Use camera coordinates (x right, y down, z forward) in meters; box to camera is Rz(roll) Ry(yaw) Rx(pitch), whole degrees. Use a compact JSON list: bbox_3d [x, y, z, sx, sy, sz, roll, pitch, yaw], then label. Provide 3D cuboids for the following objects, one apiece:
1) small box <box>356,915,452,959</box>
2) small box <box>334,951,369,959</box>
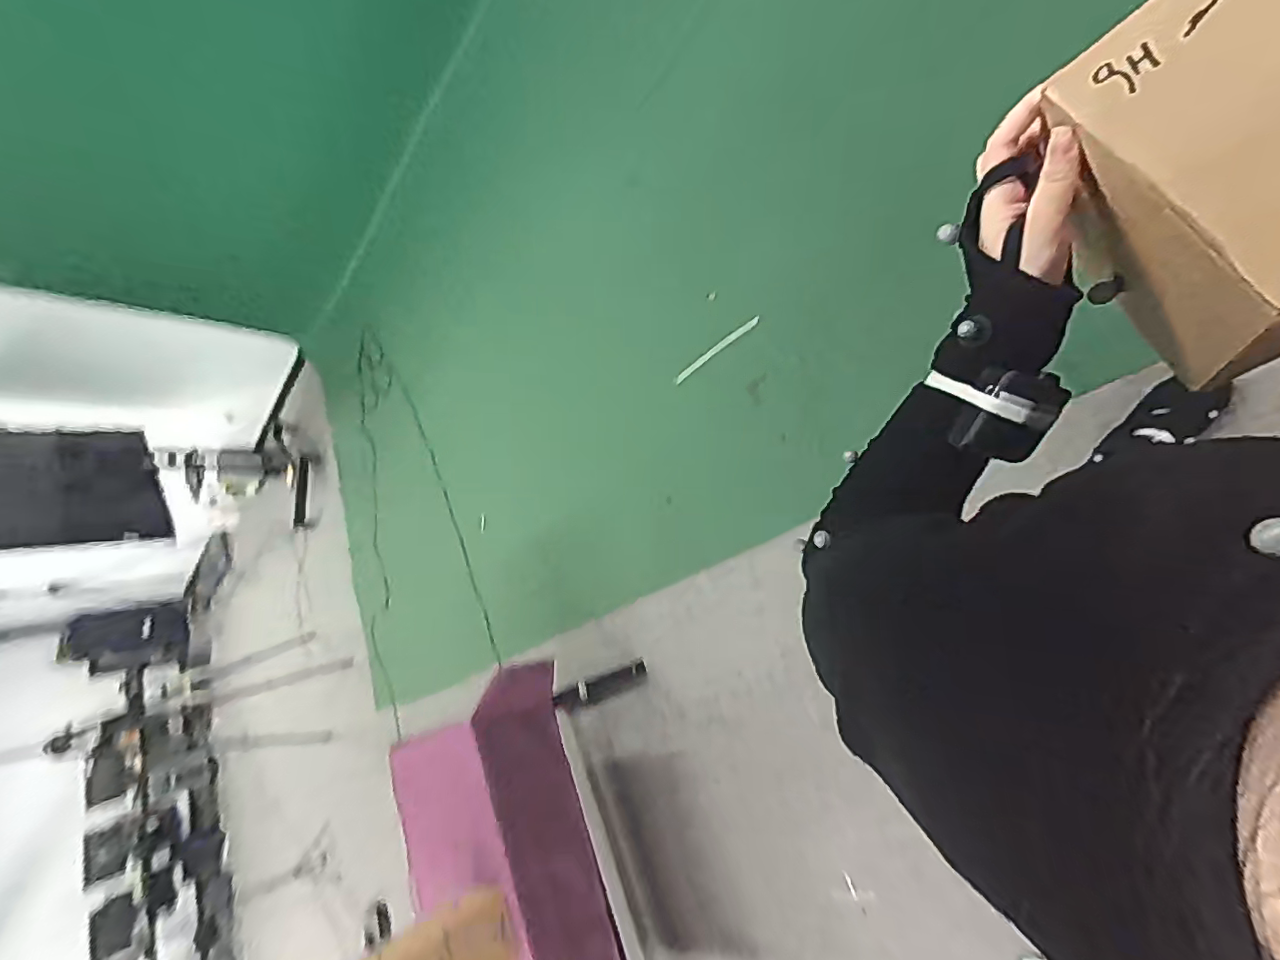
[{"bbox_3d":[-0.546,1.150,1.250,0.179,0.176,0.168,-31,69,39],"label":"small box"},{"bbox_3d":[-0.653,1.144,1.127,0.168,0.176,0.179,-28,70,37],"label":"small box"}]
